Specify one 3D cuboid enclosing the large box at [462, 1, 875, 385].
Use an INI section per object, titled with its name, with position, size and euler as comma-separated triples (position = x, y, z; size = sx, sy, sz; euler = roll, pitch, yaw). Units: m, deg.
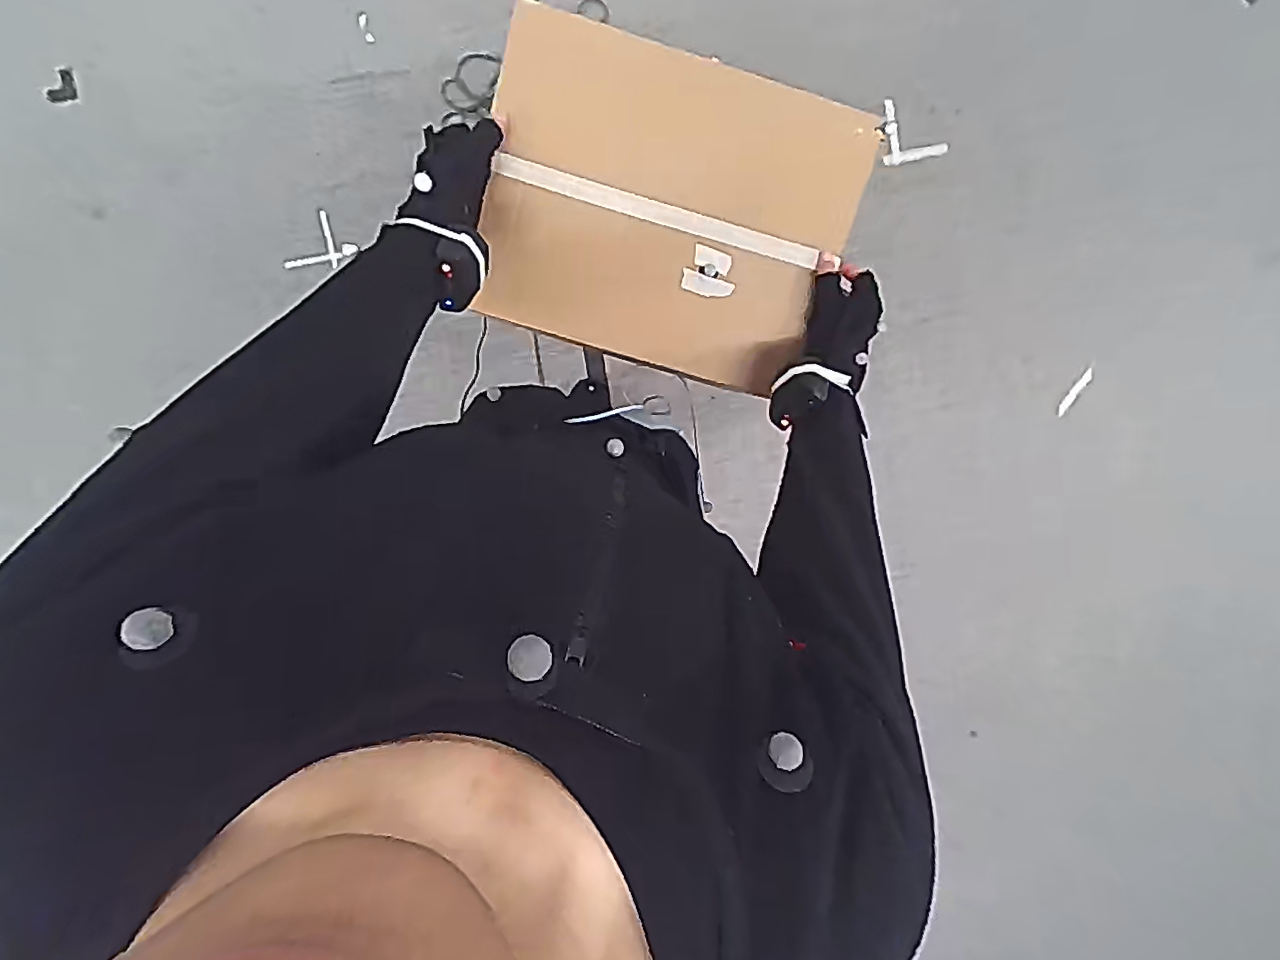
[large box]
position = 0.021, -0.334, 0.744
size = 0.408, 0.320, 0.320
euler = 15, 103, -4
